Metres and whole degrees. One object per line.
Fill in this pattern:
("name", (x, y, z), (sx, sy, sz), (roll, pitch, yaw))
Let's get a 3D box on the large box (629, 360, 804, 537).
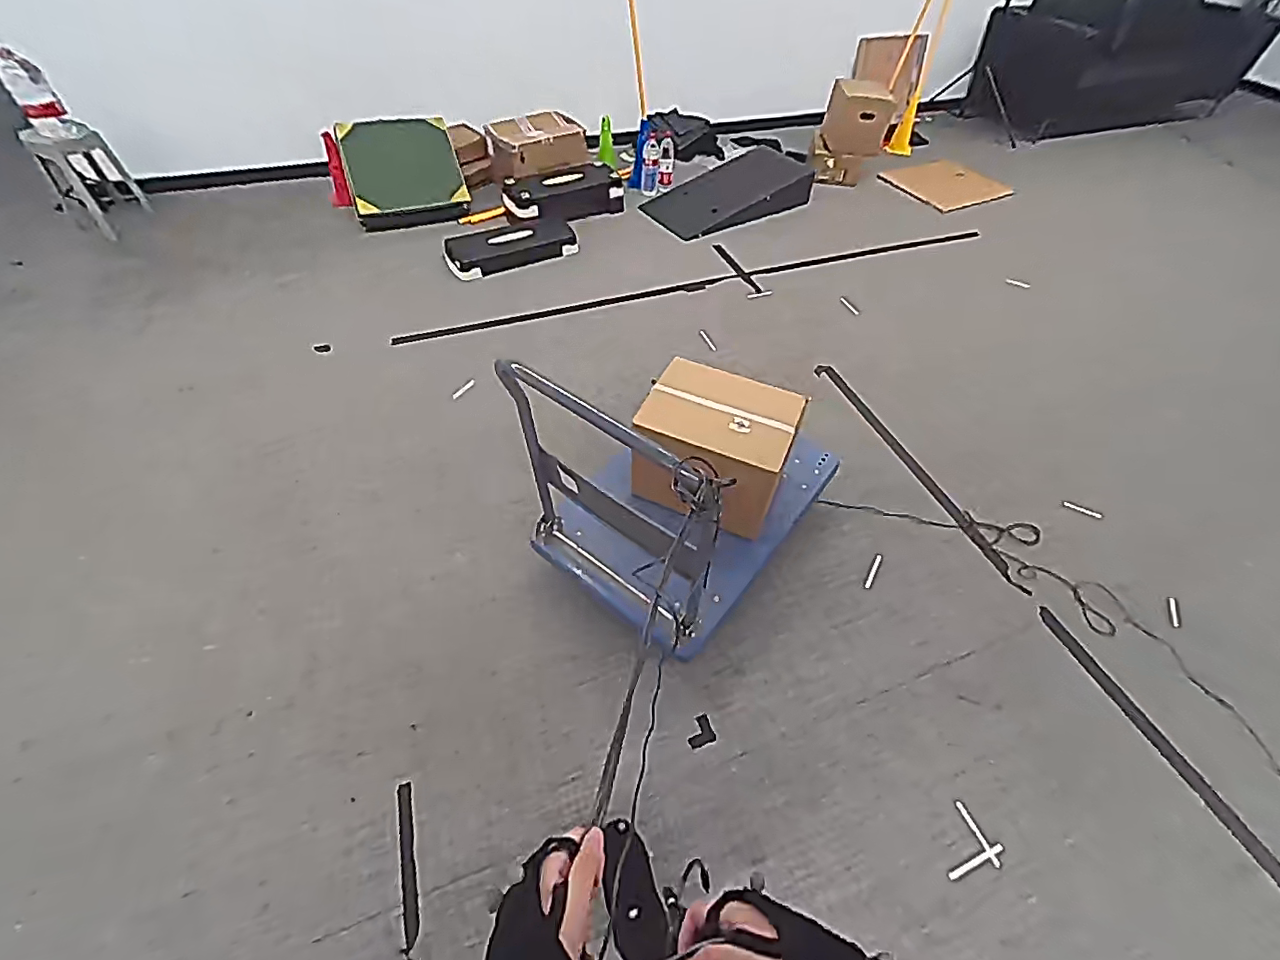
("large box", (0.209, -0.093, 1.575), (0.408, 0.320, 0.320), (21, 54, 14))
